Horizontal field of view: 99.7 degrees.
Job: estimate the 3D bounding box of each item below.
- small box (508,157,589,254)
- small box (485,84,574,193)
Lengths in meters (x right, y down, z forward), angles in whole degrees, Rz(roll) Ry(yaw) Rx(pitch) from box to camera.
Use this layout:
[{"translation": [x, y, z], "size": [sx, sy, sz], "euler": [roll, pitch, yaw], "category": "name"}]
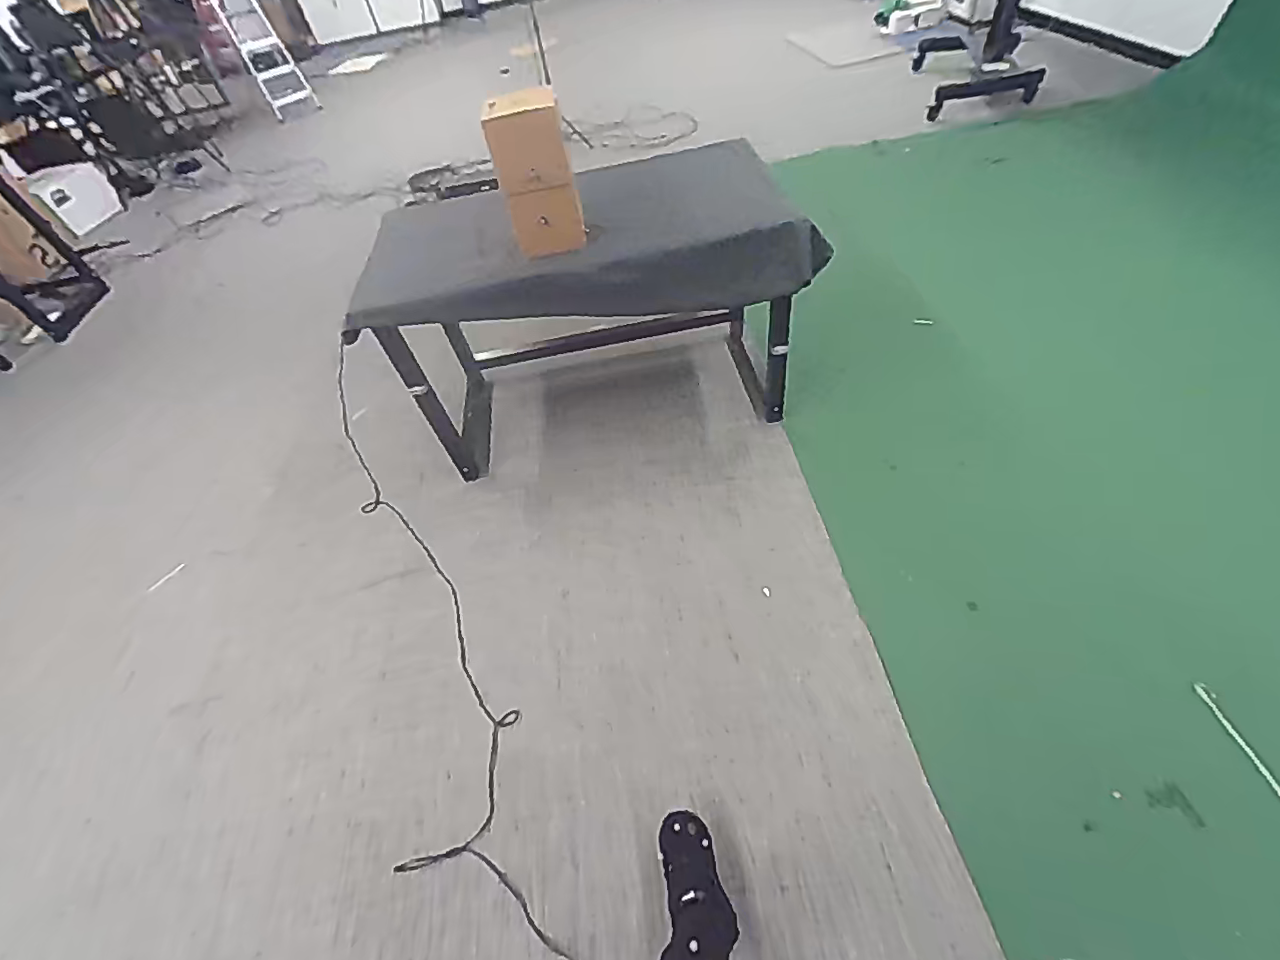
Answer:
[{"translation": [-0.235, -0.728, 1.440], "size": [0.179, 0.176, 0.168], "euler": [-8, 48, 4], "category": "small box"}, {"translation": [-0.259, -0.827, 1.315], "size": [0.179, 0.176, 0.168], "euler": [-9, 49, 2], "category": "small box"}]
